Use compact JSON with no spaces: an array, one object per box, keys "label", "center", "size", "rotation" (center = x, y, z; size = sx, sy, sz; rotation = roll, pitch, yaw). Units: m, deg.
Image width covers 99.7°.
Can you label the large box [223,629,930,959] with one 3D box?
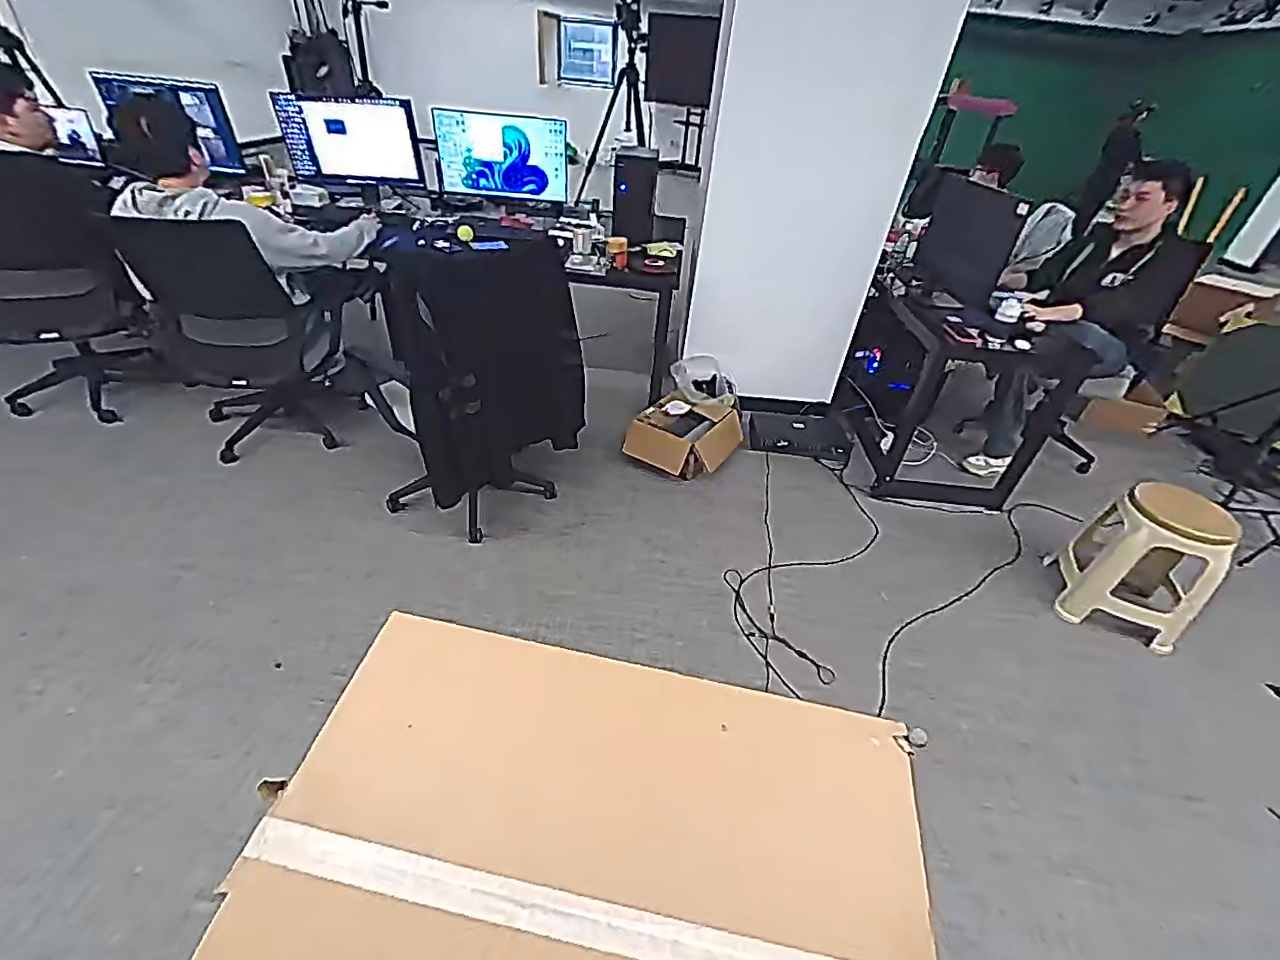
[{"label":"large box","center":[-0.039,0.363,0.429],"size":[0.408,0.320,0.320],"rotation":[11,48,4]}]
